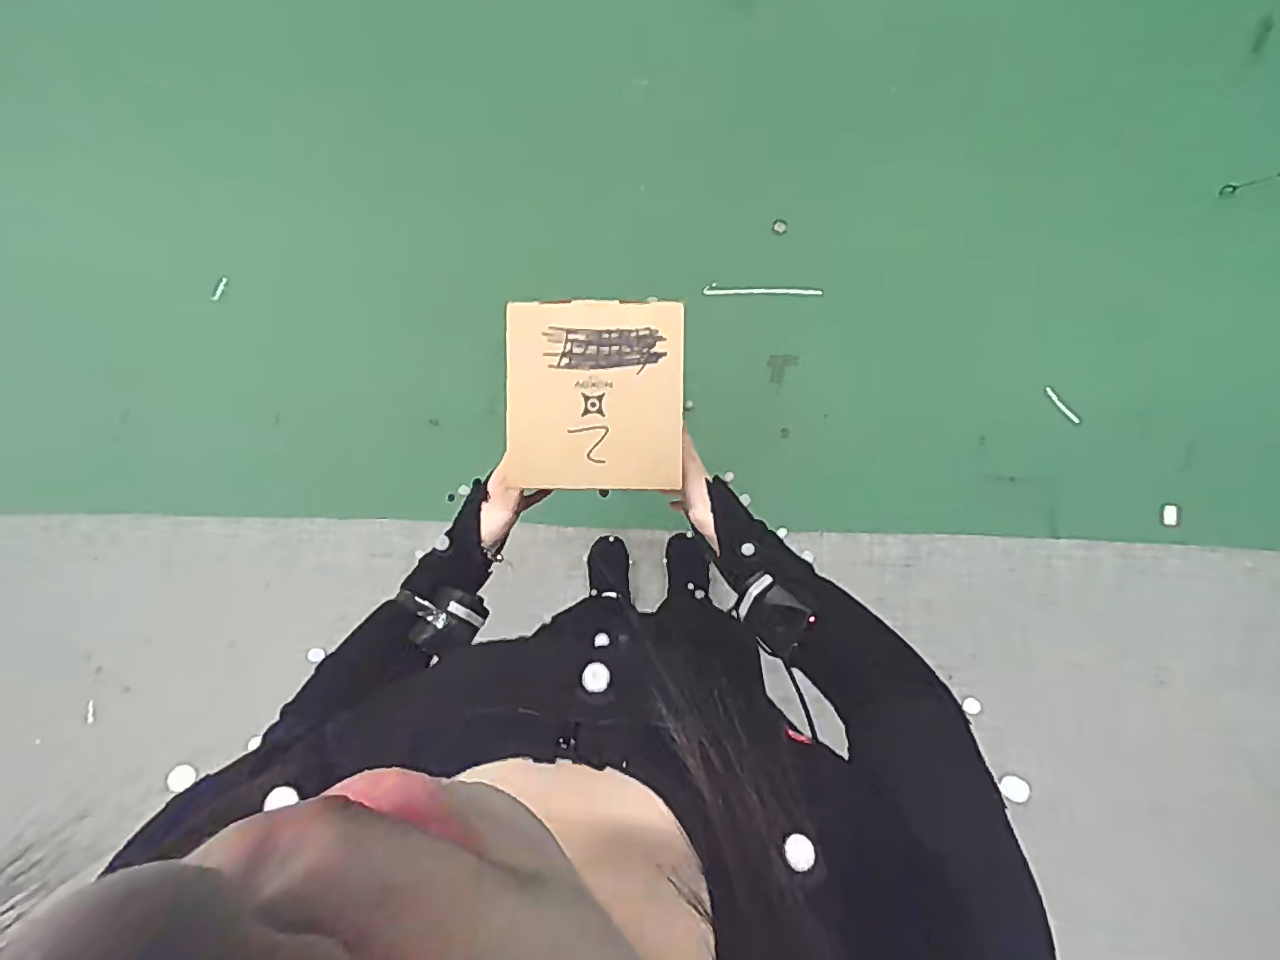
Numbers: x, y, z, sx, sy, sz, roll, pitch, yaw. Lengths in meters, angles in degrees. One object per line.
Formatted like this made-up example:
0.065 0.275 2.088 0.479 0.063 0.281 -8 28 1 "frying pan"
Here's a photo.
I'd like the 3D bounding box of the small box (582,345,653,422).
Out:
-0.054 -0.247 1.422 0.168 0.176 0.179 1 89 7 "small box"
